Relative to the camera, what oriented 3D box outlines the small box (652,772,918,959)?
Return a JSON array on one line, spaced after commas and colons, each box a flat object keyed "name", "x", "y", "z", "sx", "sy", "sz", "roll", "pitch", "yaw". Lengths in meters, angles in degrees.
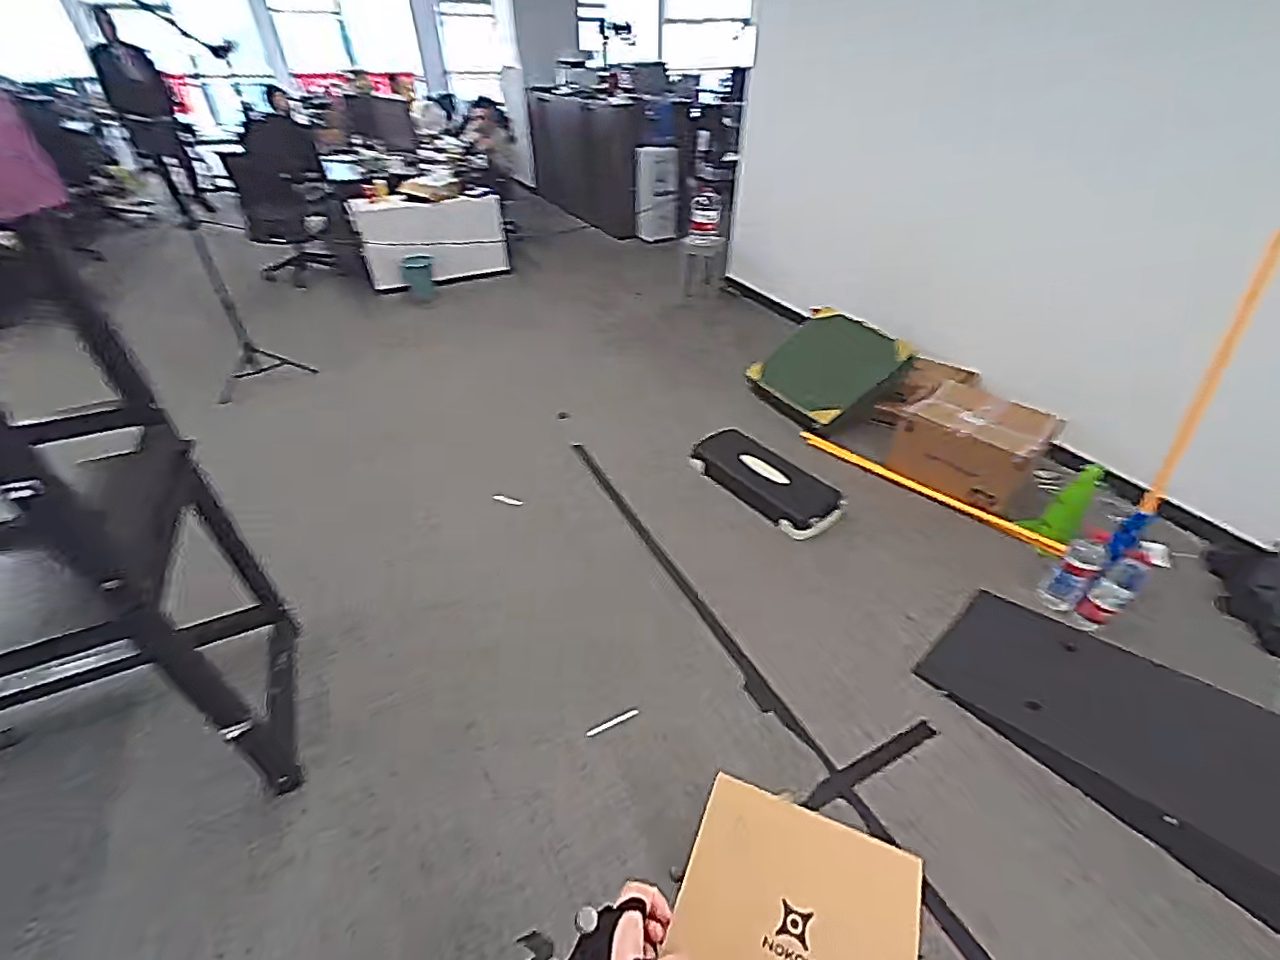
[{"name": "small box", "x": 0.106, "y": 0.380, "z": 0.430, "sx": 0.168, "sy": 0.176, "sz": 0.179, "roll": 13, "pitch": 45, "yaw": 20}]
